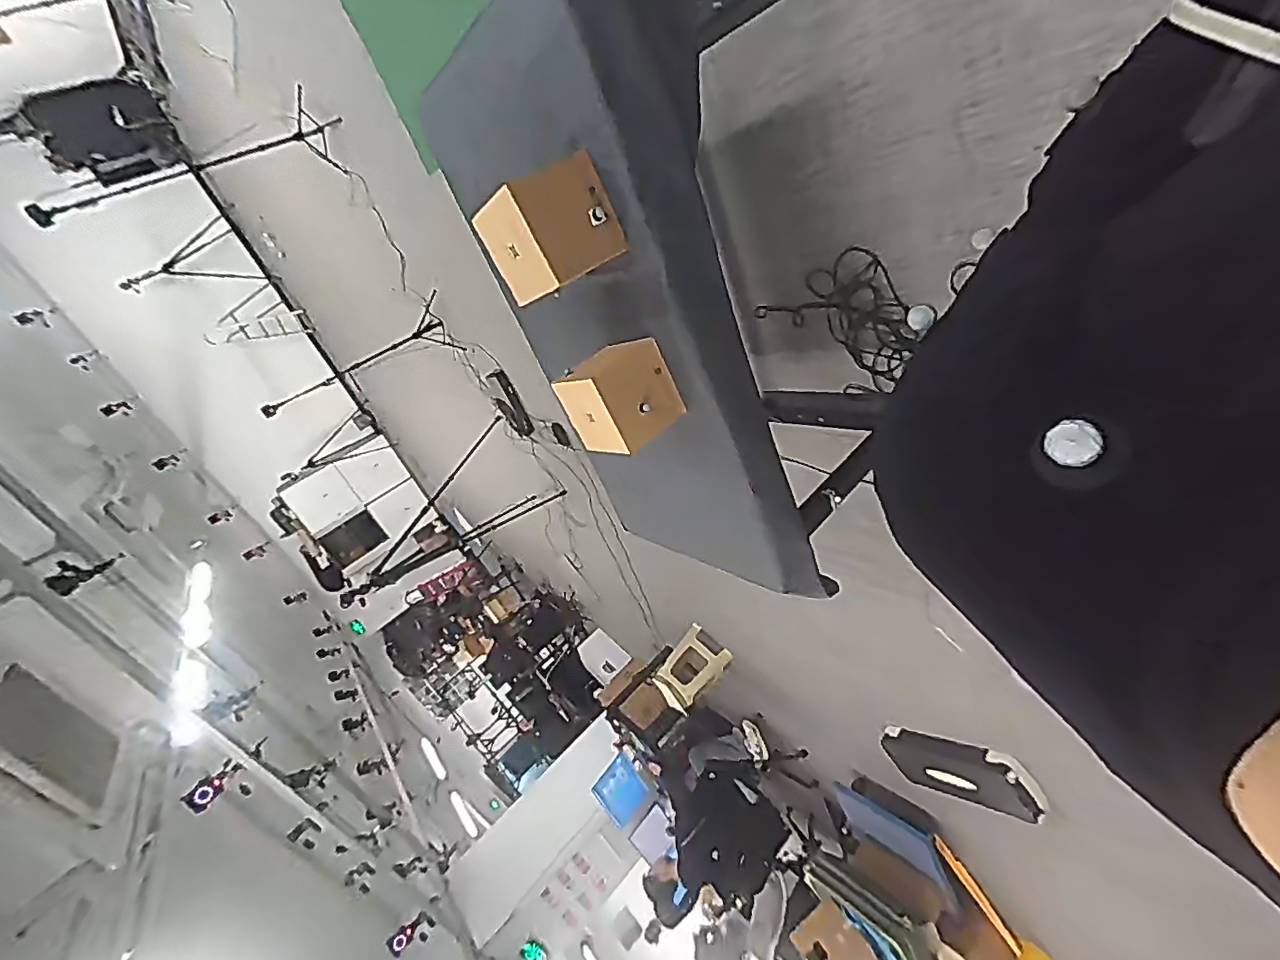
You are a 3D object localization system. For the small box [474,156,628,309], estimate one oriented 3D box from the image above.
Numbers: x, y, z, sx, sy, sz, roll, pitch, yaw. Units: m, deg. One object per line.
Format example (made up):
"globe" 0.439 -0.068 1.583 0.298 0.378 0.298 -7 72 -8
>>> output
"small box" -0.152 -0.424 0.939 0.179 0.176 0.168 5 130 56

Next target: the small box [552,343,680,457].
"small box" -0.040 -0.163 1.100 0.179 0.176 0.168 9 132 56
